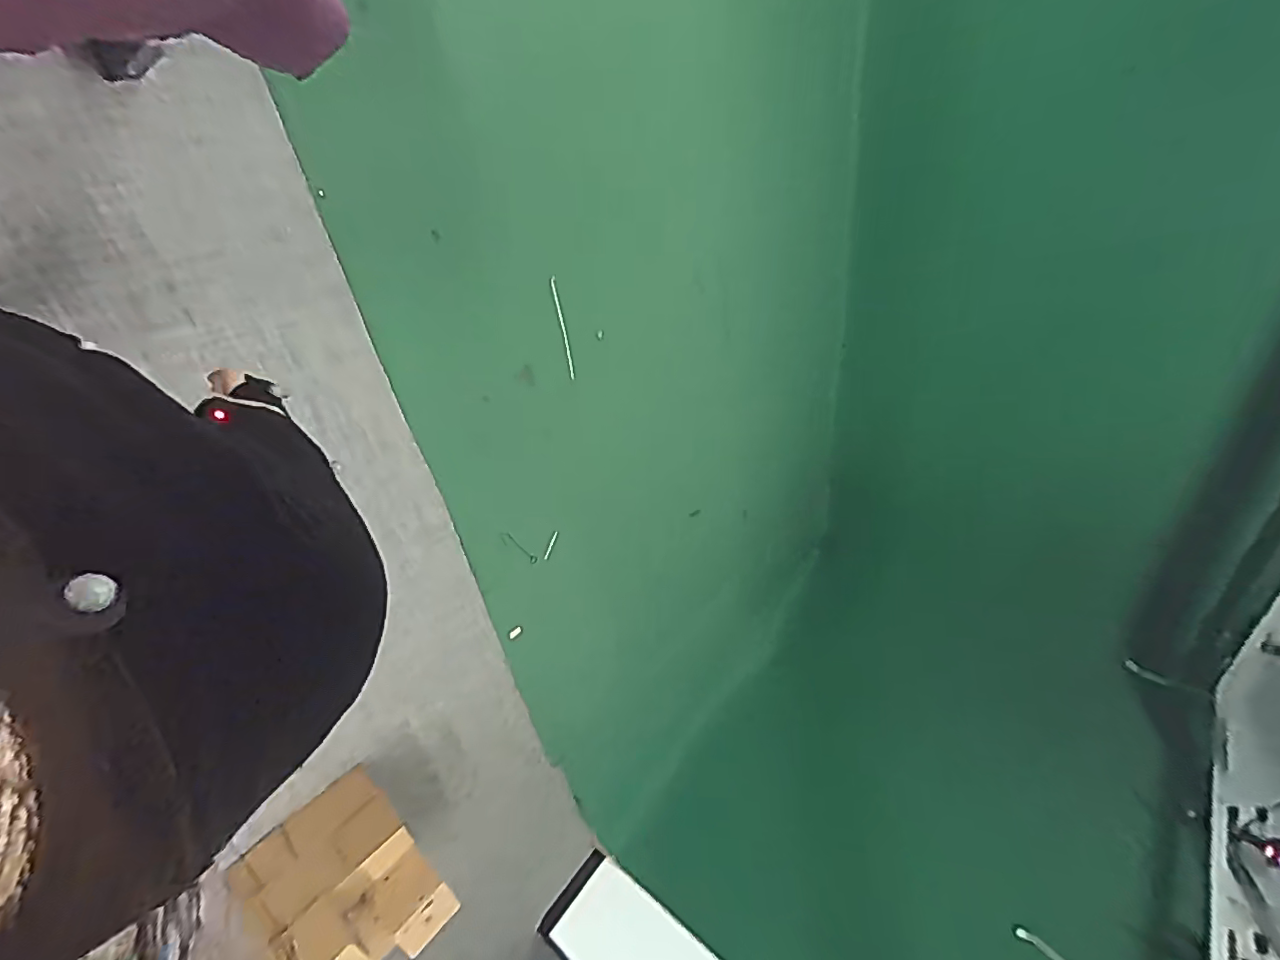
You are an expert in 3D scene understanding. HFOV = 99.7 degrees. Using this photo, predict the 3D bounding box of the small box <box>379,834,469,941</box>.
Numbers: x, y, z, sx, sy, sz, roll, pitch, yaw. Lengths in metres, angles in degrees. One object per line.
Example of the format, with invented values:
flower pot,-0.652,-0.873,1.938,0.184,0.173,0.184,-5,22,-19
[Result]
small box,-0.648,1.215,1.624,0.168,0.176,0.179,-37,134,-38

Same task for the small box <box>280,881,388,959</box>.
small box,-0.807,1.218,1.419,0.179,0.176,0.168,-38,134,-36
